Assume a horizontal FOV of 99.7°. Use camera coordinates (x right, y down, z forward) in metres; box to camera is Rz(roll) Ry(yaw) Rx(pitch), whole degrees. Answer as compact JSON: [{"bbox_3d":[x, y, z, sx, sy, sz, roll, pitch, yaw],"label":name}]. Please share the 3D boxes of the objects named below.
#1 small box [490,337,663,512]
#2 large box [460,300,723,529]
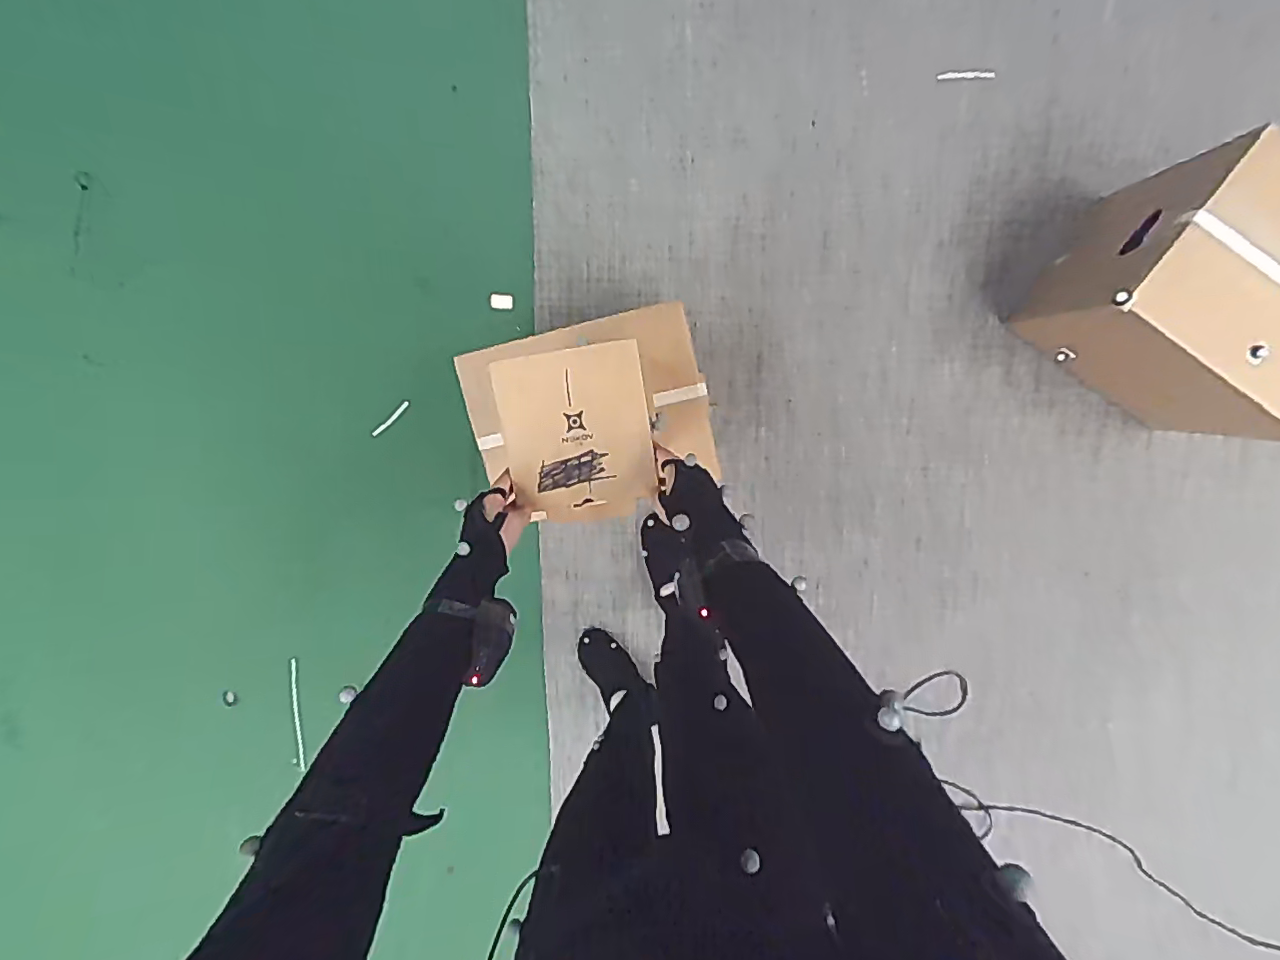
[{"bbox_3d":[-0.064,-0.073,0.669,0.168,0.176,0.179,-8,100,5],"label":"small box"},{"bbox_3d":[-0.072,-0.128,1.076,0.408,0.320,0.320,-13,97,7],"label":"large box"}]
